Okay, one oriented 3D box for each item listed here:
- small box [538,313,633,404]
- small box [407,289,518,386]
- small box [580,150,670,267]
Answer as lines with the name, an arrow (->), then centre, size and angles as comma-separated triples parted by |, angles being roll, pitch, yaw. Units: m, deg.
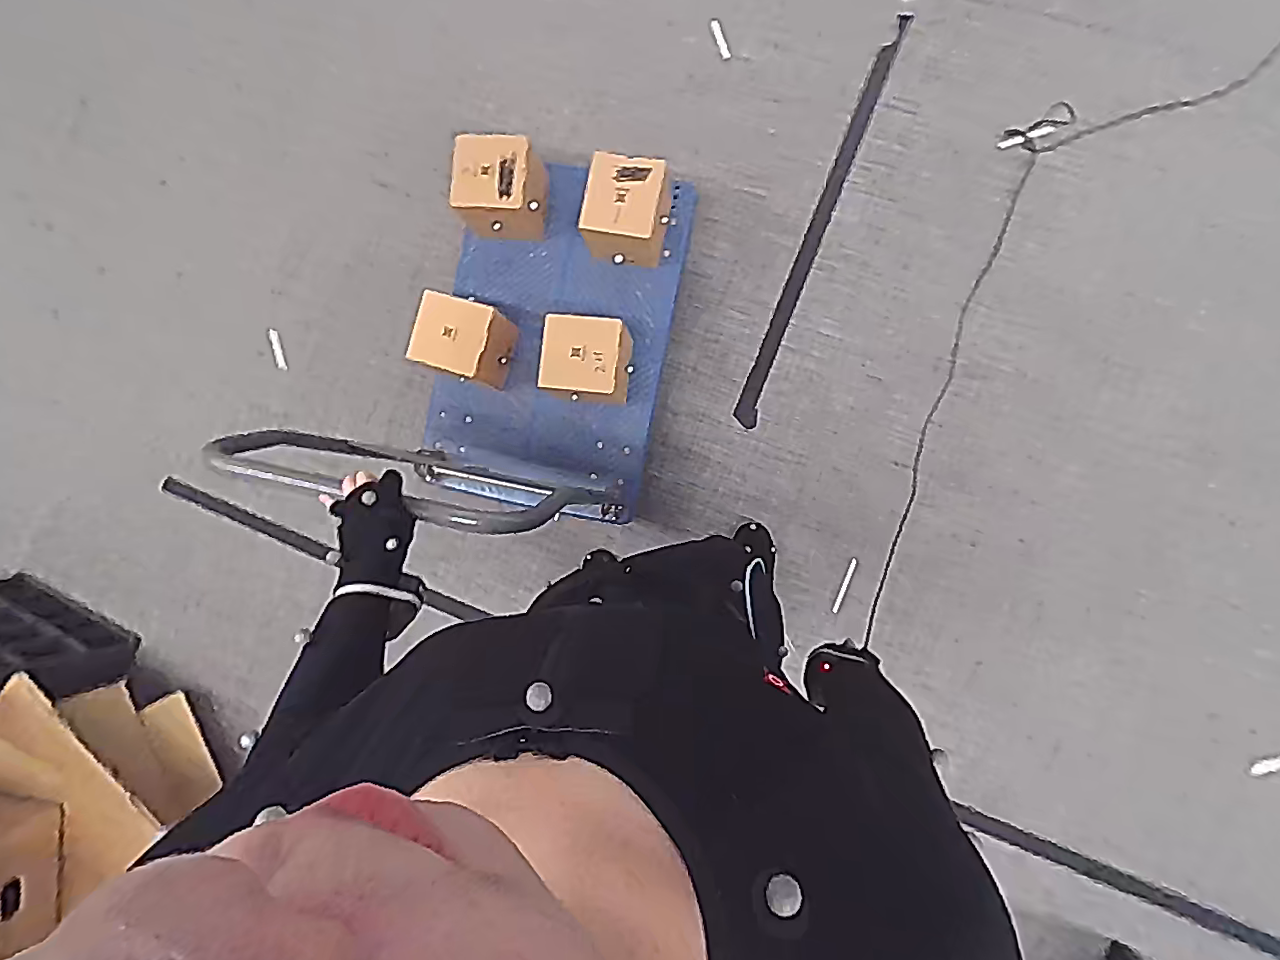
small box -> -0.122, -0.278, 1.266 | 0.179, 0.176, 0.168 | 7, 90, 7
small box -> -0.421, -0.335, 1.306 | 0.179, 0.176, 0.168 | 16, 91, 6
small box -> -0.027, -0.625, 1.259 | 0.168, 0.176, 0.179 | 13, 92, 7
